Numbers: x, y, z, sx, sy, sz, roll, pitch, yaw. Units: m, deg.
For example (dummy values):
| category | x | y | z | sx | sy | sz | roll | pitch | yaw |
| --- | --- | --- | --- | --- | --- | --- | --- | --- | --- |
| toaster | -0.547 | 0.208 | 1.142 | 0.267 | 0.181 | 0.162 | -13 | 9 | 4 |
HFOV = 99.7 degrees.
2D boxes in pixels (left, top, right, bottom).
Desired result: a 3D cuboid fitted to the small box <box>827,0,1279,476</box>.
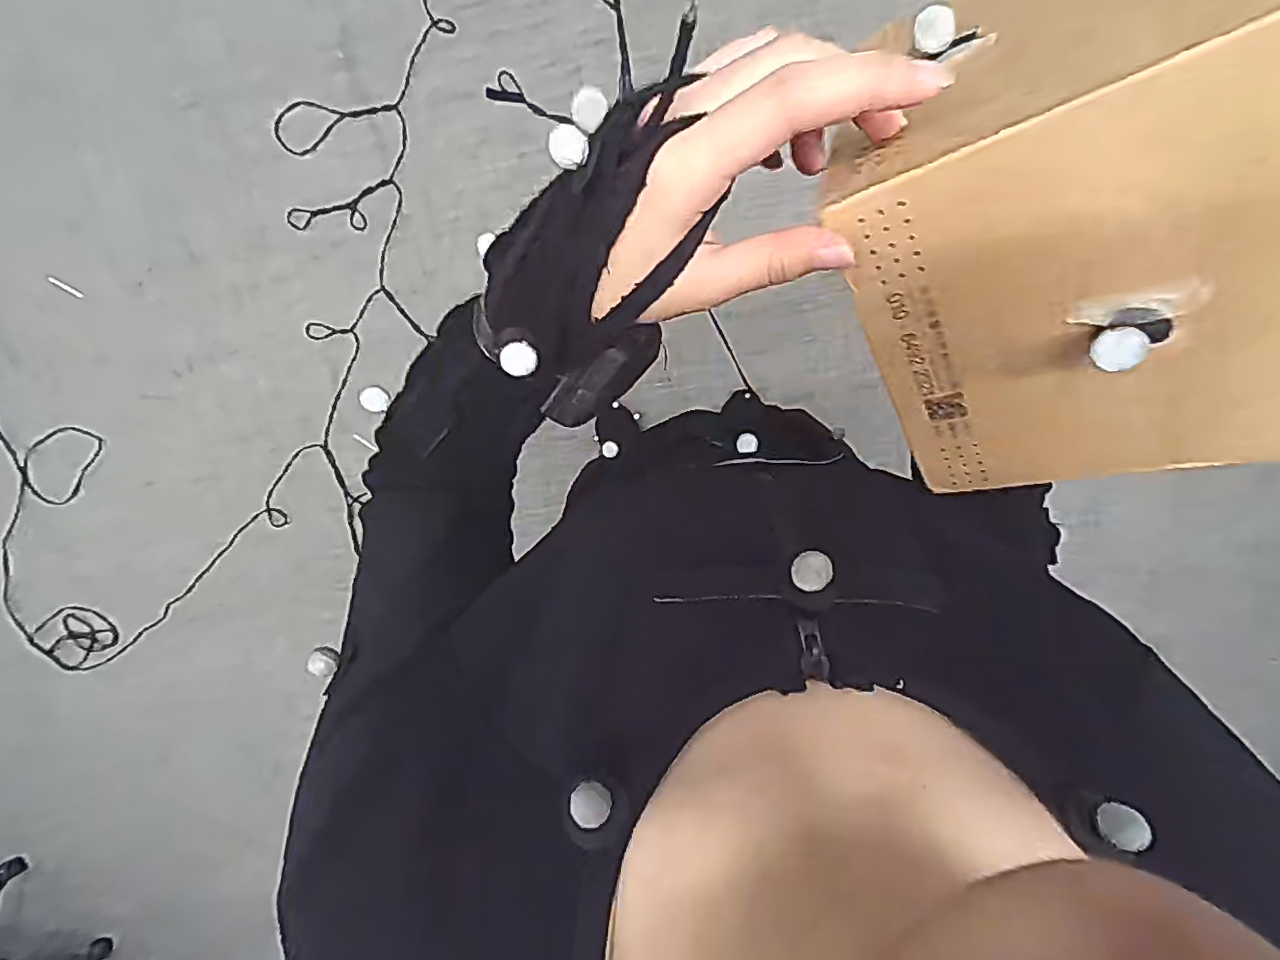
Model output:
| category | x | y | z | sx | sy | sz | roll | pitch | yaw |
| --- | --- | --- | --- | --- | --- | --- | --- | --- | --- |
| small box | 0.197 | -0.120 | 0.242 | 0.176 | 0.179 | 0.168 | -9 | 137 | 38 |
